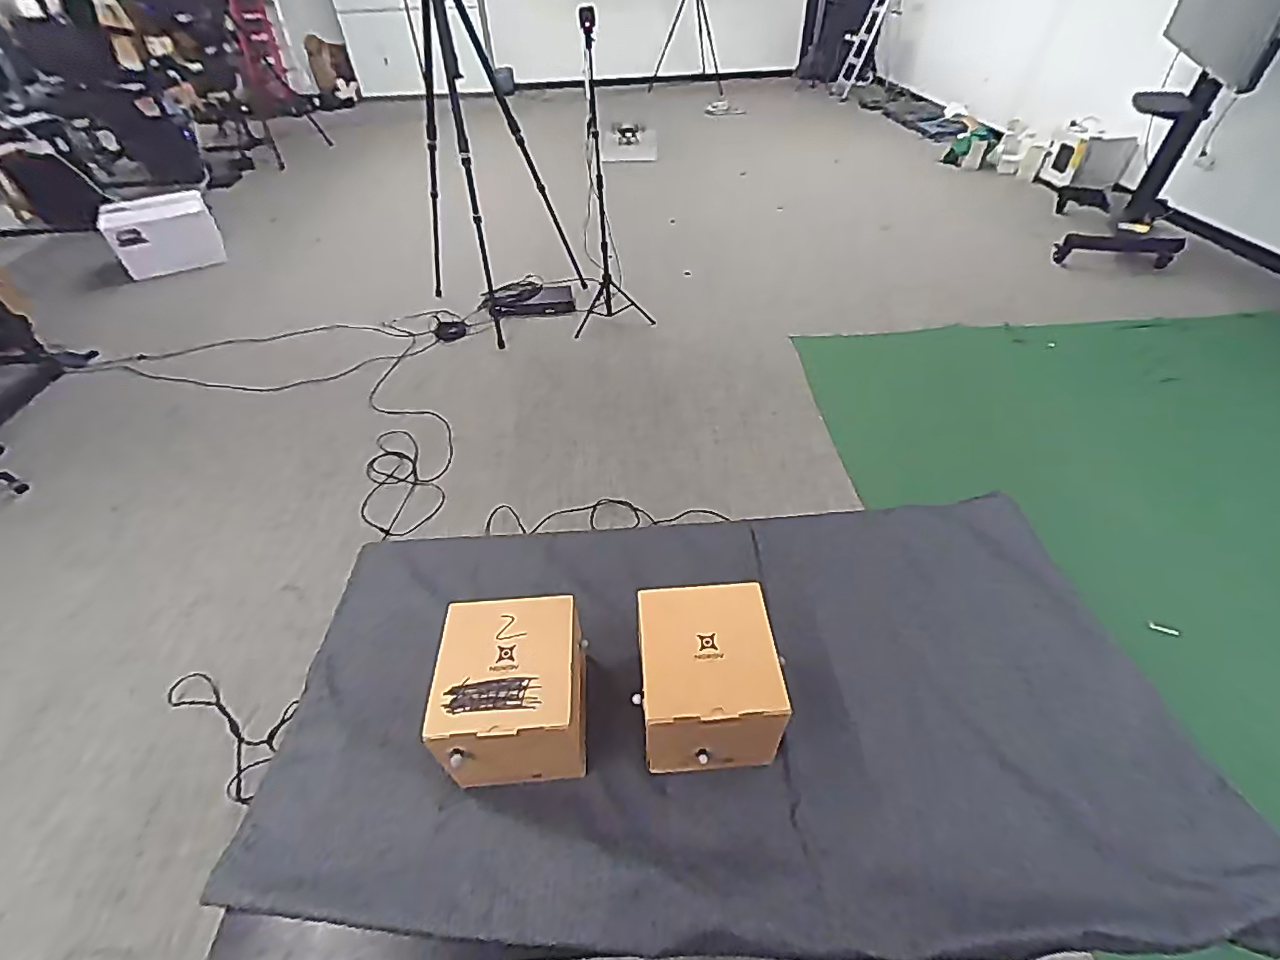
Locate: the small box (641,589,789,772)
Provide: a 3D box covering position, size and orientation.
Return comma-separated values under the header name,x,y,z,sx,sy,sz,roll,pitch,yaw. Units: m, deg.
name,x,y,z,sx,sy,sz,roll,pitch,yaw
small box,0.087,0.271,0.732,0.168,0.176,0.179,-4,45,-1
